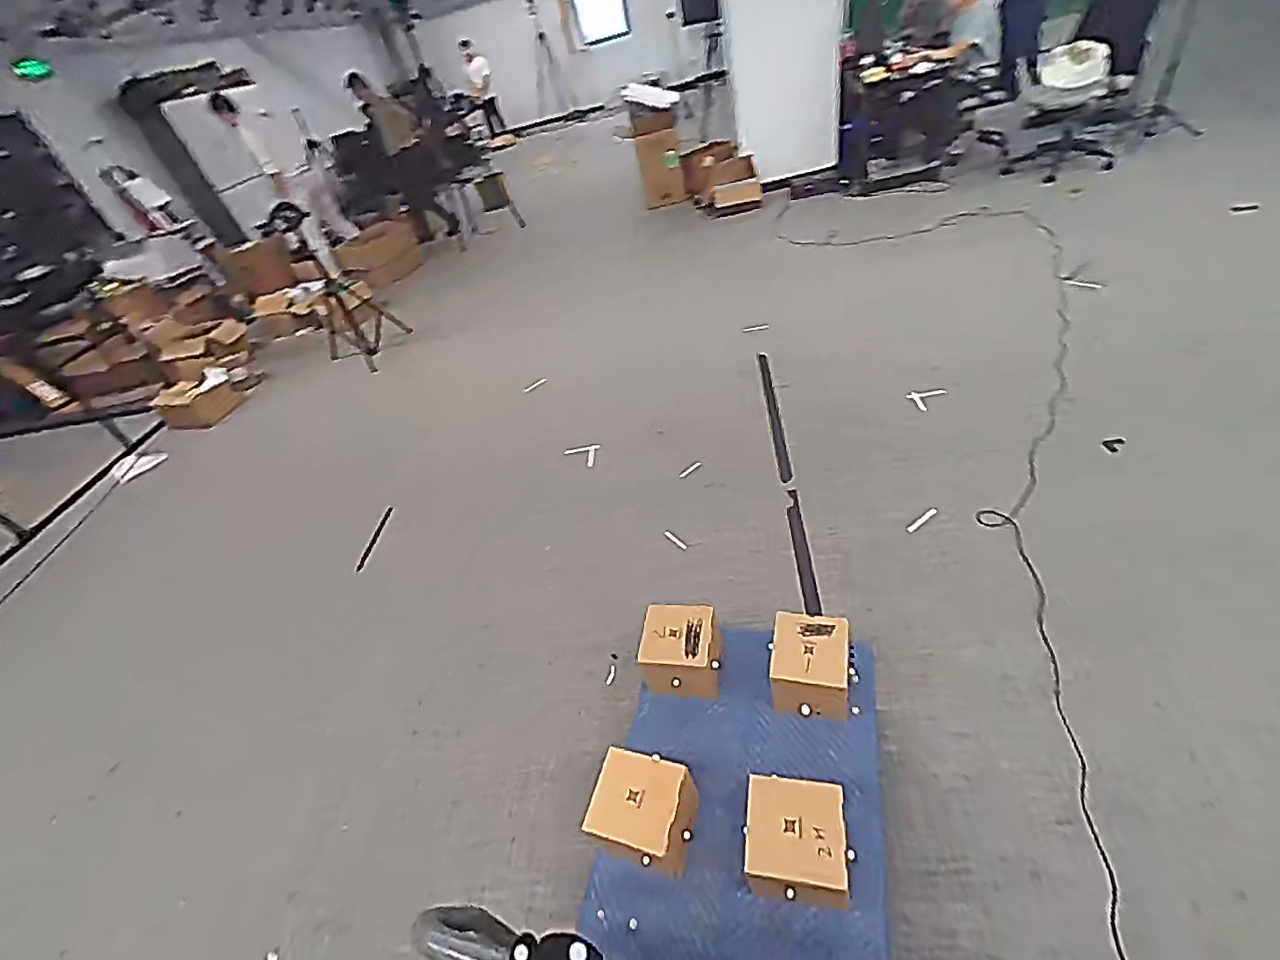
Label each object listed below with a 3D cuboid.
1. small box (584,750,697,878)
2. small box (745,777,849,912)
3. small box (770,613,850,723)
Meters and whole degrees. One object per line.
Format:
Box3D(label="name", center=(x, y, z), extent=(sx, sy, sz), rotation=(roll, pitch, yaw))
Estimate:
Box3D(label="small box", center=(0.009, 0.702, 1.135), extent=(0.179, 0.176, 0.168), rotation=(4, 44, 21))
Box3D(label="small box", center=(0.302, 0.697, 1.034), extent=(0.179, 0.176, 0.168), rotation=(-2, 42, 18))
Box3D(label="small box", center=(0.406, 0.444, 1.284), extent=(0.168, 0.176, 0.179), rotation=(1, 45, 21))
